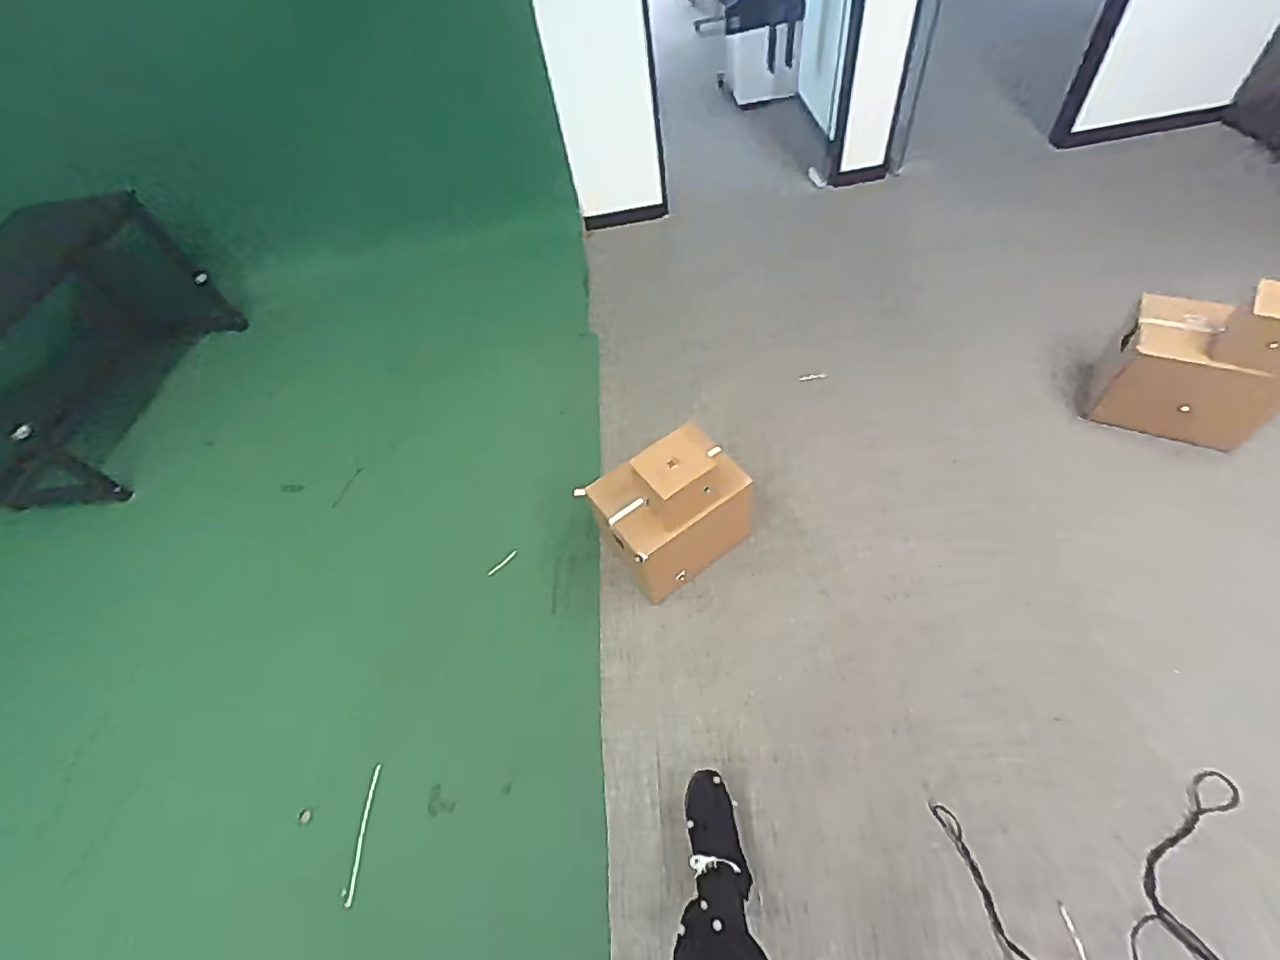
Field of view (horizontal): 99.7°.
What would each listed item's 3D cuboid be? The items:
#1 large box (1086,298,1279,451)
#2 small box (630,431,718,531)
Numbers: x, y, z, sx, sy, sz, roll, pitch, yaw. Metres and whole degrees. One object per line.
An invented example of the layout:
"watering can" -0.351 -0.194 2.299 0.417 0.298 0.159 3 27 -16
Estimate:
"large box" 1.768 -0.342 1.753 0.408 0.320 0.320 19 58 23
"small box" 0.096 0.006 1.476 0.179 0.176 0.168 -33 56 -14
